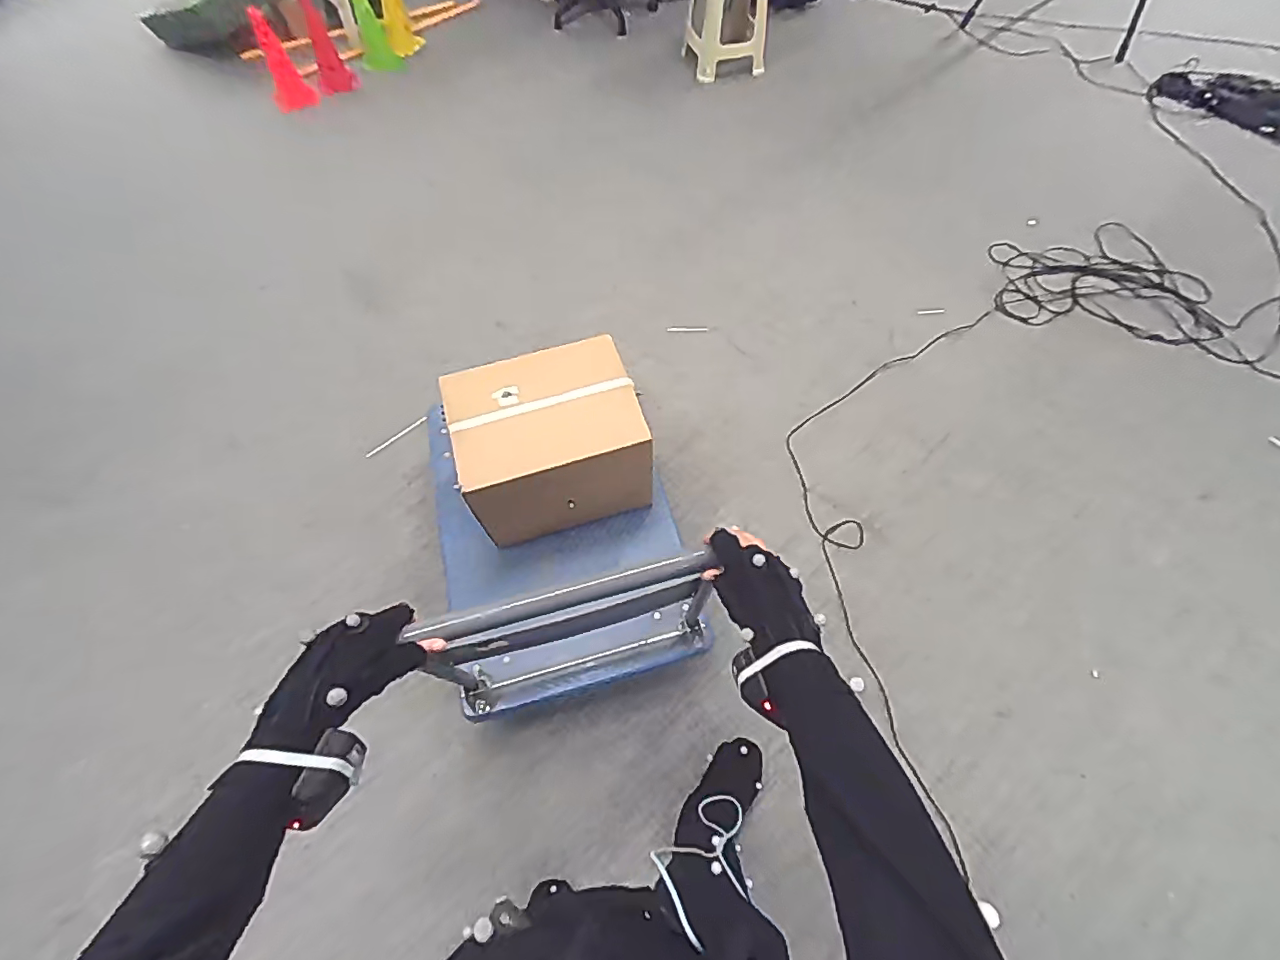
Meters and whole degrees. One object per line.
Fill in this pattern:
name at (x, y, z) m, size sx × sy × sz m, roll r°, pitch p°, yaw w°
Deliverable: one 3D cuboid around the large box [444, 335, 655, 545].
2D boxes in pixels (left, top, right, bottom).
large box at (-0.201, -0.086, 1.306) m, size 0.408 × 0.320 × 0.320 m, roll -17°, pitch 62°, yaw -7°
